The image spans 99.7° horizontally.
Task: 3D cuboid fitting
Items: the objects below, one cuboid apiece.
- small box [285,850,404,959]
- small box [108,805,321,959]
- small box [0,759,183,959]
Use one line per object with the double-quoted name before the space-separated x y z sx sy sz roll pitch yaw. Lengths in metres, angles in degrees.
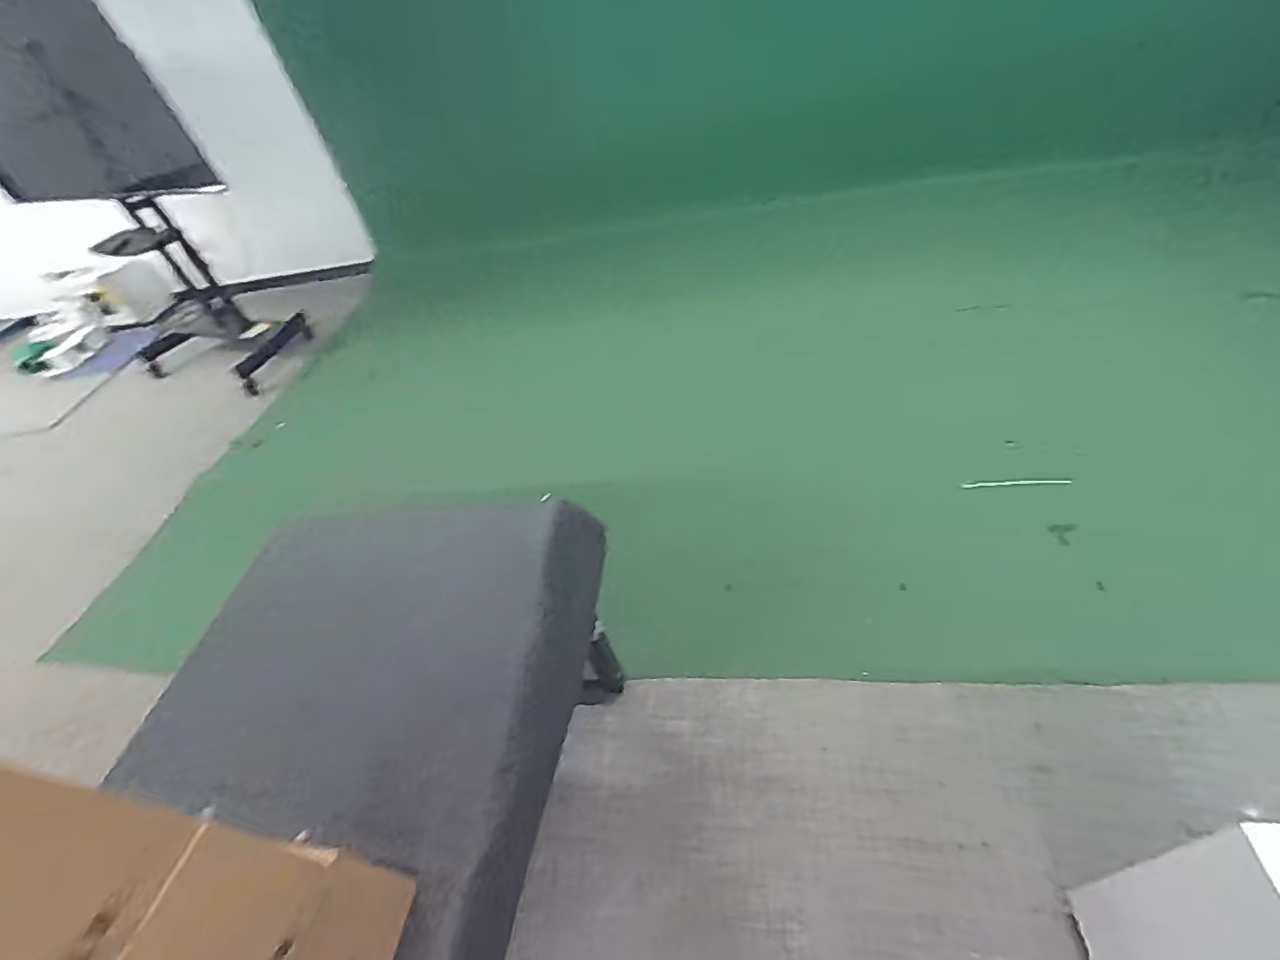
"small box" -0.369 0.479 0.535 0.168 0.176 0.179 -2 46 13
"small box" -0.405 0.365 0.421 0.179 0.176 0.168 -3 45 14
"small box" -0.439 0.255 0.308 0.179 0.176 0.168 0 48 15
